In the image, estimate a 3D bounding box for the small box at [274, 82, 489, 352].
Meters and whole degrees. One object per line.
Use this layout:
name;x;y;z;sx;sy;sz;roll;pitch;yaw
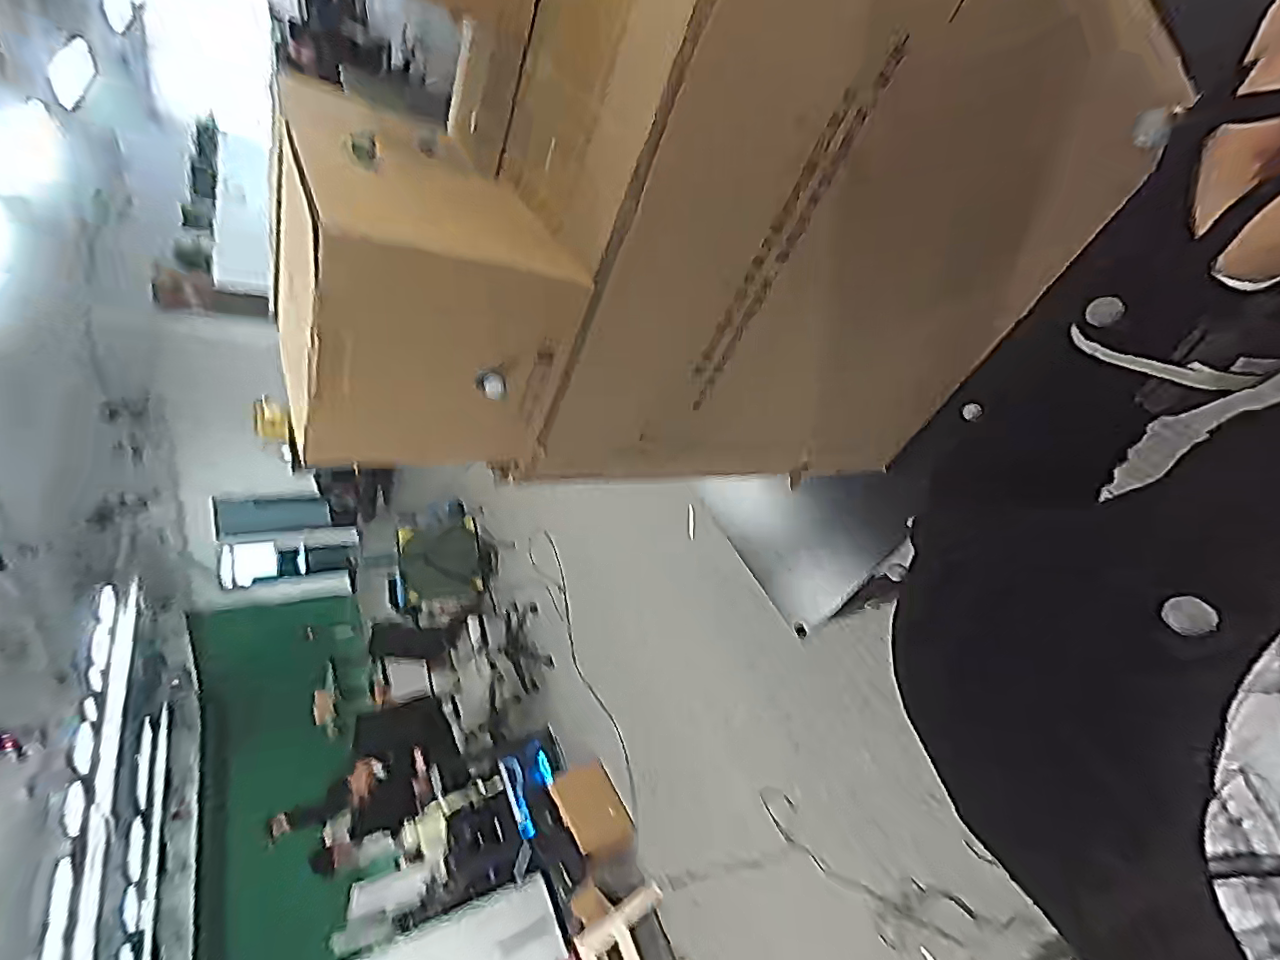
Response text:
small box;-0.264;-0.248;0.543;0.168;0.176;0.179;59;134;36
